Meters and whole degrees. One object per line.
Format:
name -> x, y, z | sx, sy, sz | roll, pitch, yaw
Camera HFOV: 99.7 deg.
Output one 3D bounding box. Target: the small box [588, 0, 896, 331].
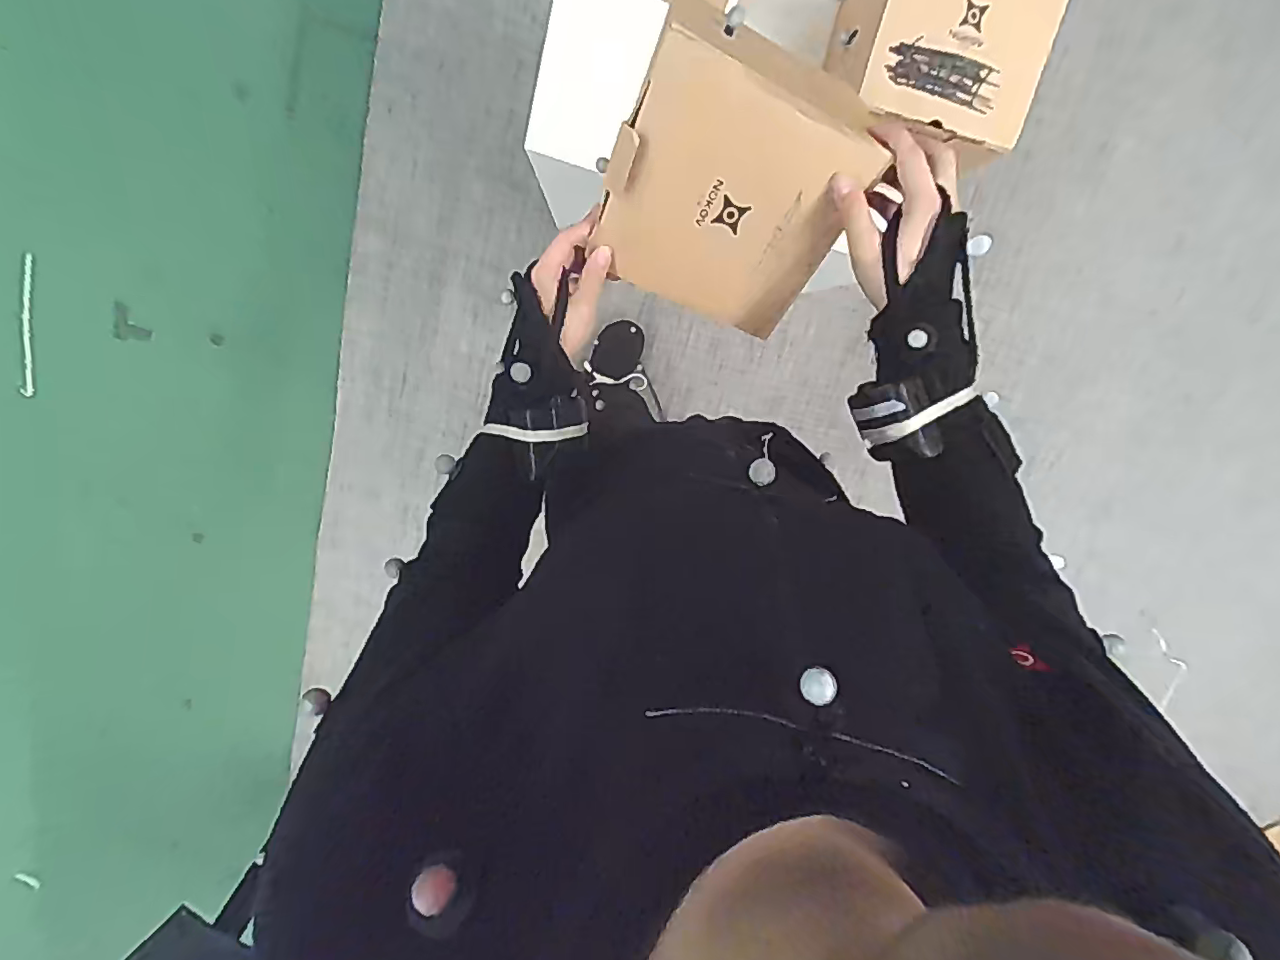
small box -> 0.072, -0.264, 0.457 | 0.179, 0.176, 0.168 | 17, 138, -13
